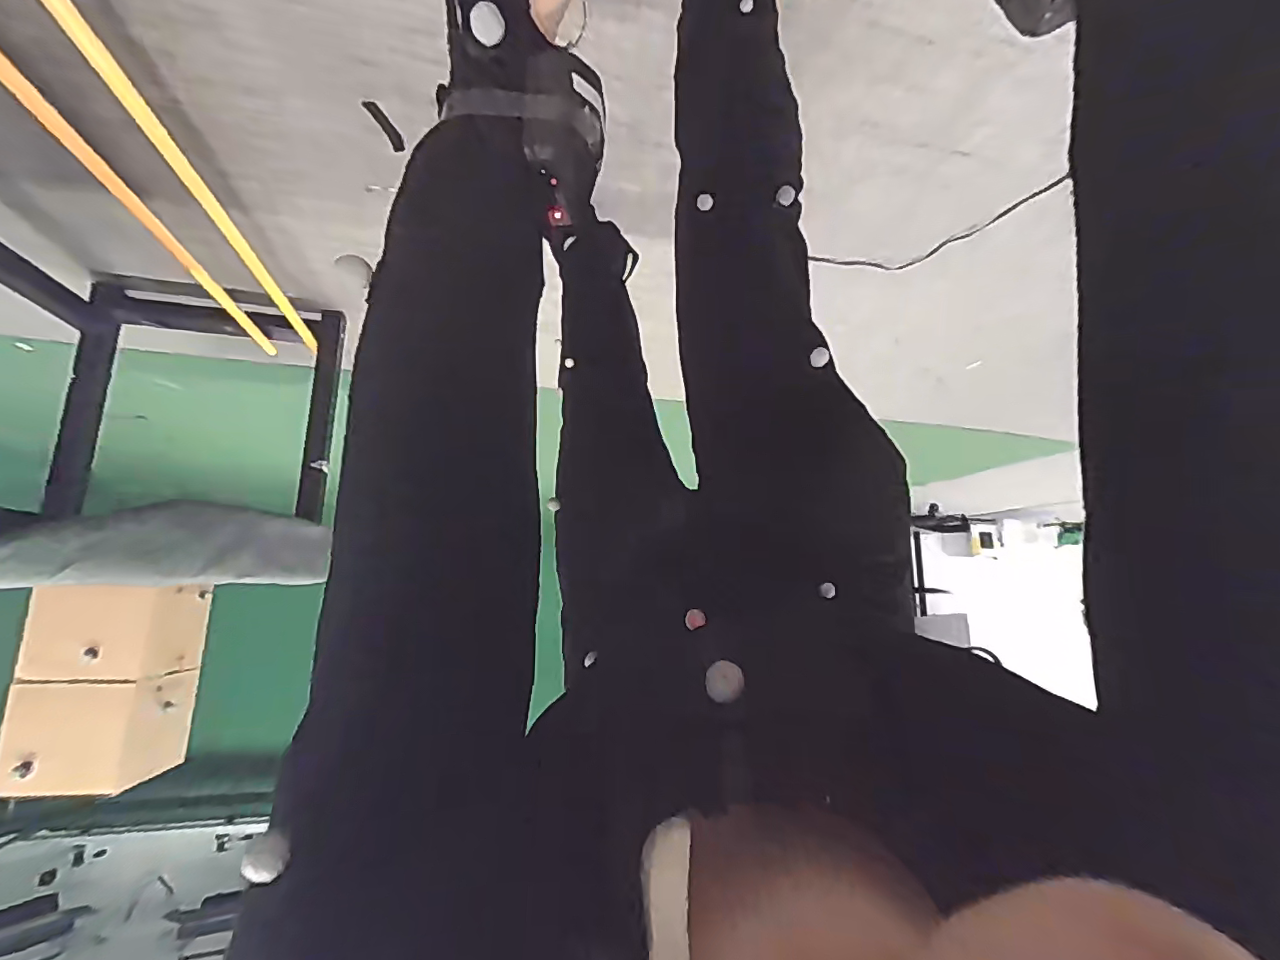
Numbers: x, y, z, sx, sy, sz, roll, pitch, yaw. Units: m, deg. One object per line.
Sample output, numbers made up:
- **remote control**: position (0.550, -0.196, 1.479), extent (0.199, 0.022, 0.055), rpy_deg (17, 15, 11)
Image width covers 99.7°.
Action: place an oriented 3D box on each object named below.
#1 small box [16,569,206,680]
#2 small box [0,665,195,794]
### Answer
- **small box**: position (-0.899, 0.245, 0.942), extent (0.179, 0.176, 0.168), rpy_deg (4, 169, -10)
- **small box**: position (-0.905, 0.406, 0.911), extent (0.179, 0.176, 0.168), rpy_deg (3, 170, -8)
